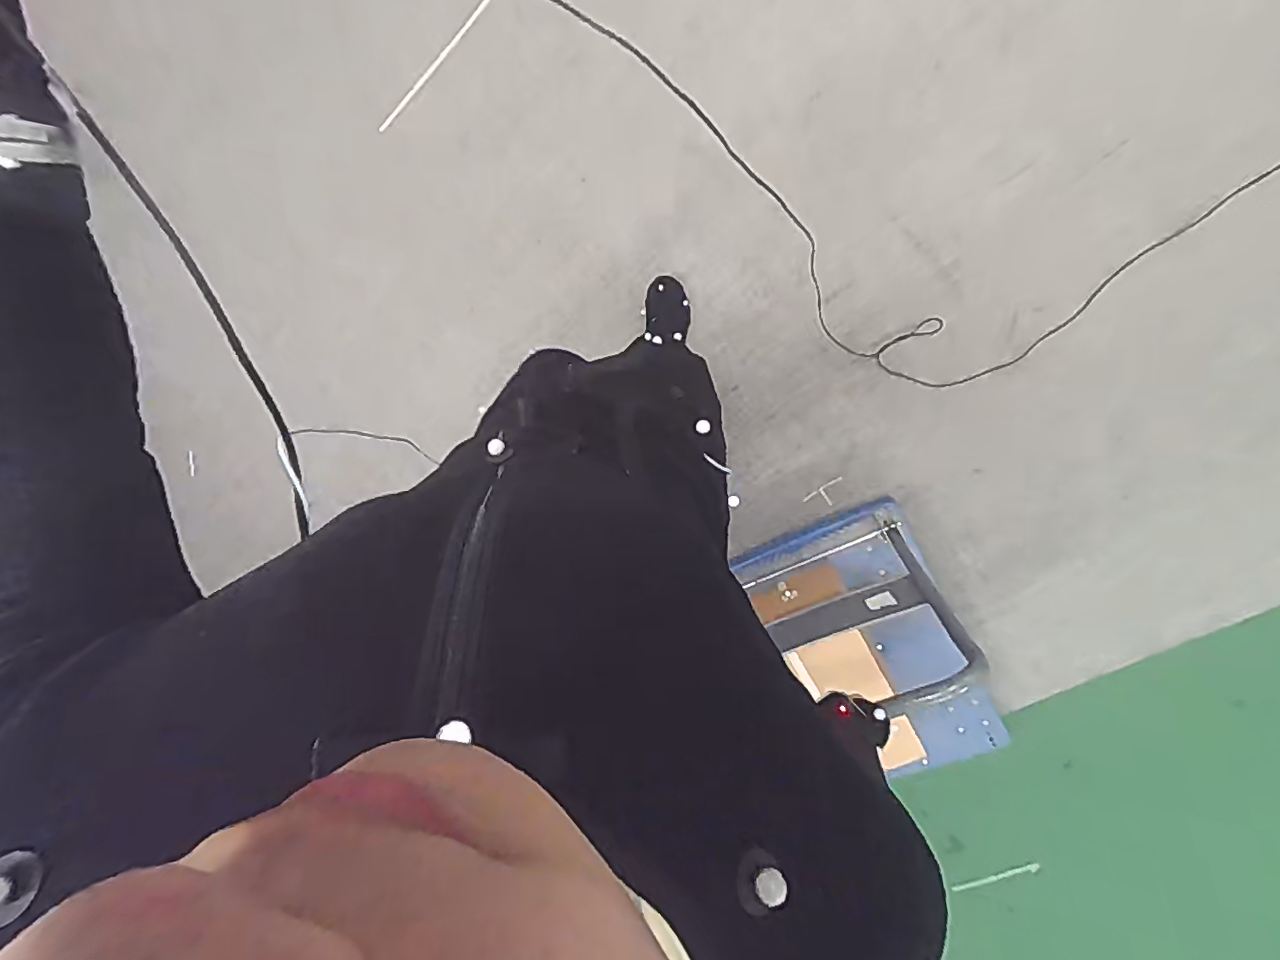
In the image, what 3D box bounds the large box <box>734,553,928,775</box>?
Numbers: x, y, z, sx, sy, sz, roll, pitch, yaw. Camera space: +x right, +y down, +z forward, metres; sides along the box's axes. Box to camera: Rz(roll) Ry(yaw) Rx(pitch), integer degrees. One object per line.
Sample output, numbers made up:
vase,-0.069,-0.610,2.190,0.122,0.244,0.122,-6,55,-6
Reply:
large box,0.480,0.475,1.433,0.320,0.320,0.408,-28,104,18
